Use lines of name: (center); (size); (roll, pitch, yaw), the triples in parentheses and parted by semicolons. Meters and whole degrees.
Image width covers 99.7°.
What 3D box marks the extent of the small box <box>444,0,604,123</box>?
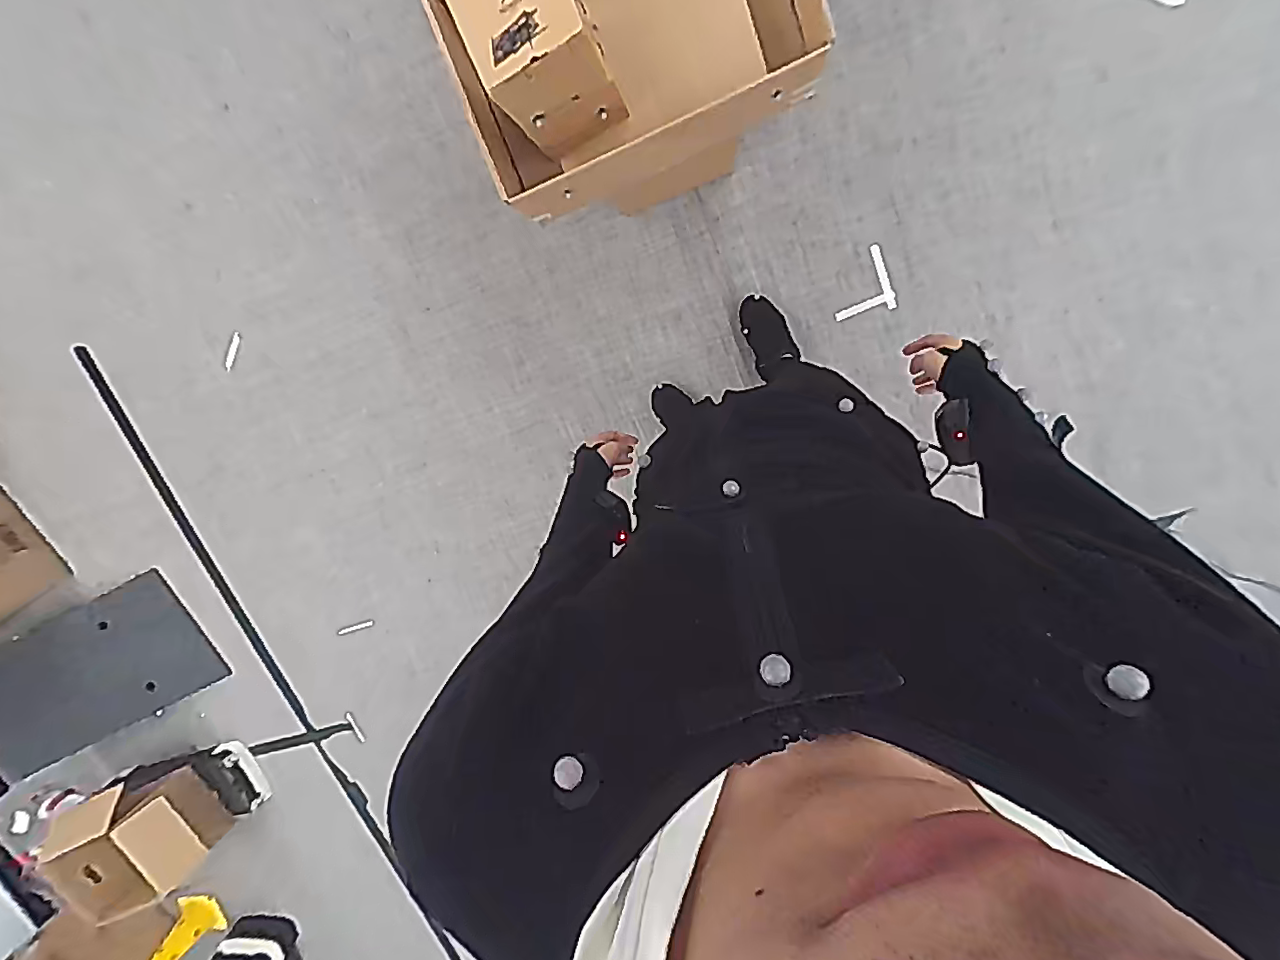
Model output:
small box: (-0.170, -0.679, 0.817); (0.168, 0.176, 0.179); (-22, 100, 13)

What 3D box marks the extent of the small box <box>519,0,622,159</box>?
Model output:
small box: (-0.143, -0.720, 0.973); (0.179, 0.176, 0.168); (-23, 101, 15)
